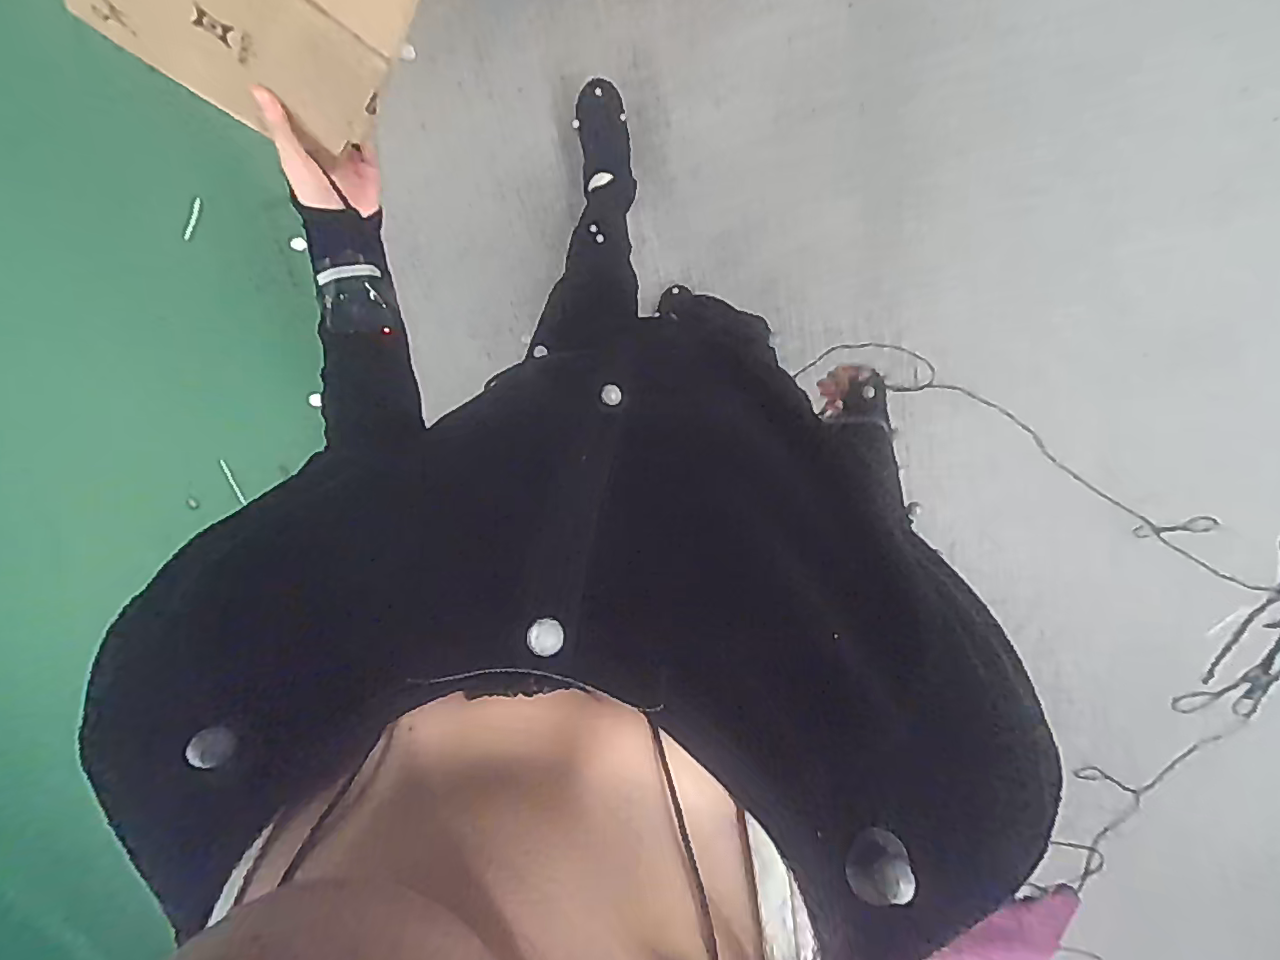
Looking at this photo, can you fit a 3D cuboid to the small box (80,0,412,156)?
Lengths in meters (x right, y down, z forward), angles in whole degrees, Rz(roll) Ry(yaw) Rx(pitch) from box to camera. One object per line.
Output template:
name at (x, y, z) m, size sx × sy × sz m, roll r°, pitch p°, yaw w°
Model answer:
small box at (-0.260, -0.388, 0.379) m, size 0.179 × 0.176 × 0.168 m, roll 24°, pitch 161°, yaw -40°
